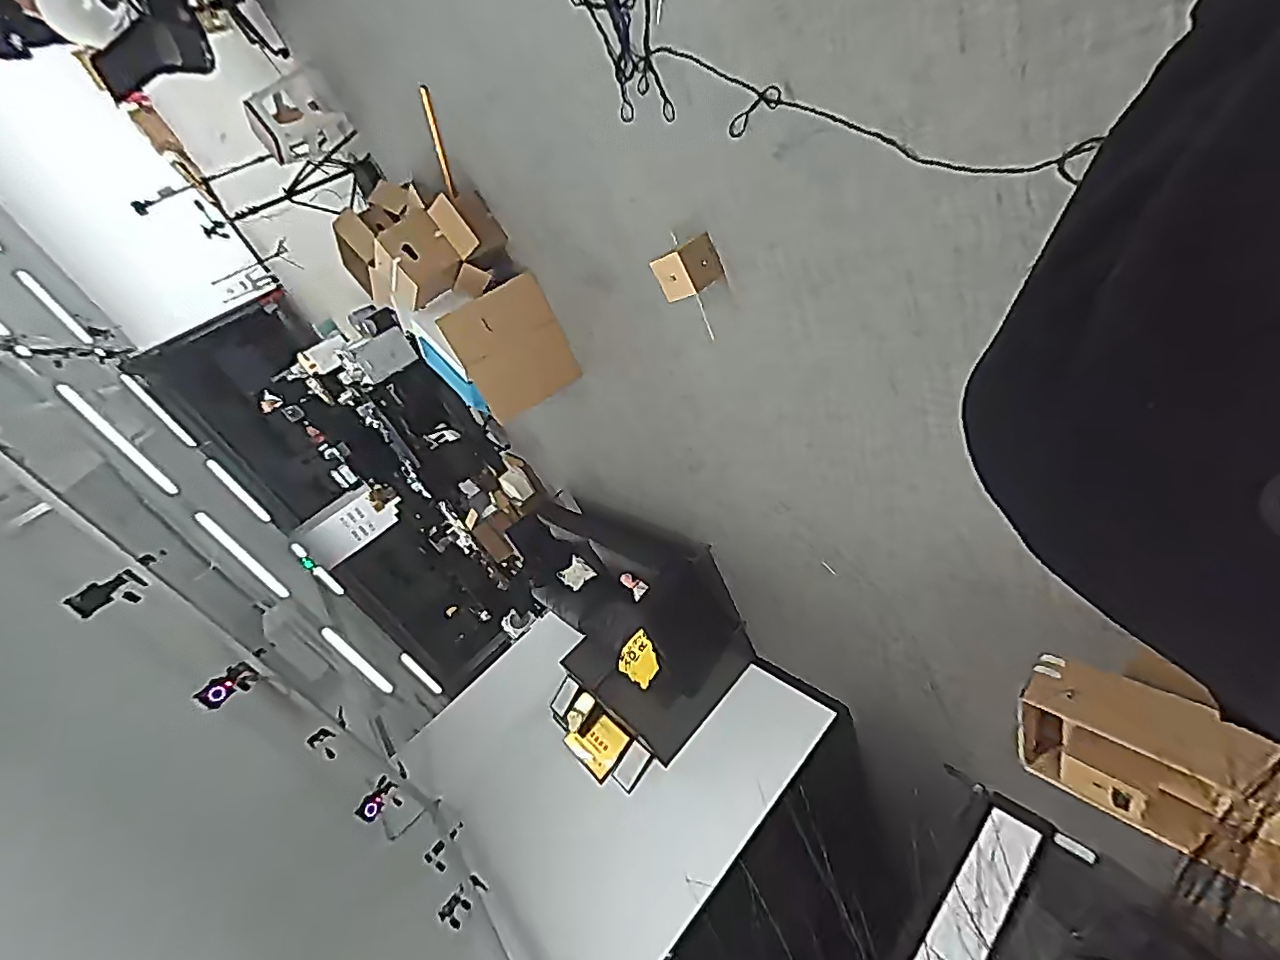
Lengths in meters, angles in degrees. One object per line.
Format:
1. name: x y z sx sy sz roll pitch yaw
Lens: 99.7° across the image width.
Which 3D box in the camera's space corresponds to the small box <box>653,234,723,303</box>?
1. small box: 0.190 -0.798 2.038 0.179 0.176 0.168 10 136 57
